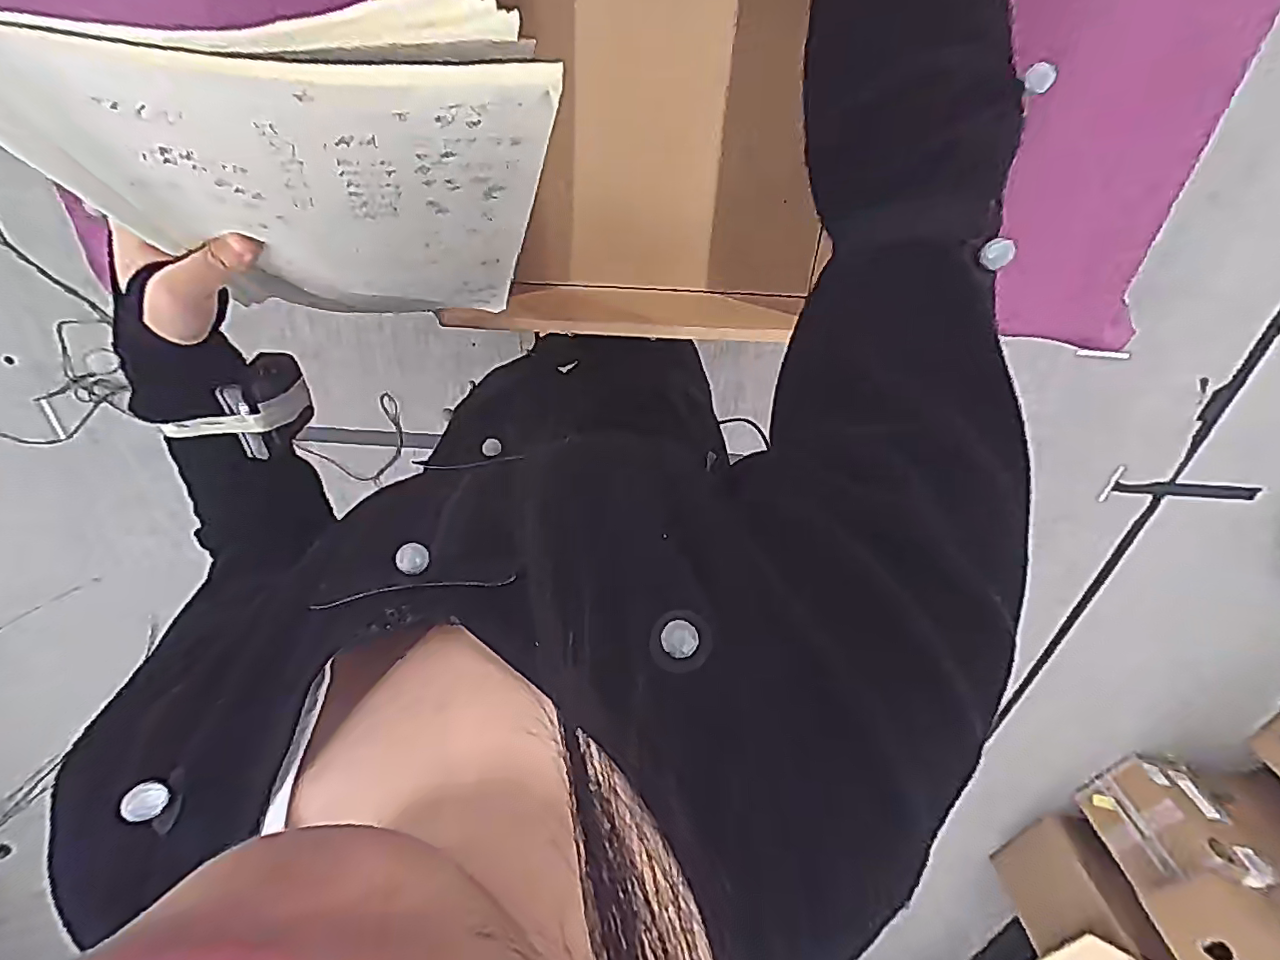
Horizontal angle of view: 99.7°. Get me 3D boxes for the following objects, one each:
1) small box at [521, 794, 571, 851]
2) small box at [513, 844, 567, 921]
[{"bbox_3d":[-0.346,1.289,1.997,0.168,0.176,0.179,8,122,-7],"label":"small box"},{"bbox_3d":[-0.341,1.385,1.863,0.168,0.176,0.179,5,121,-5],"label":"small box"}]
